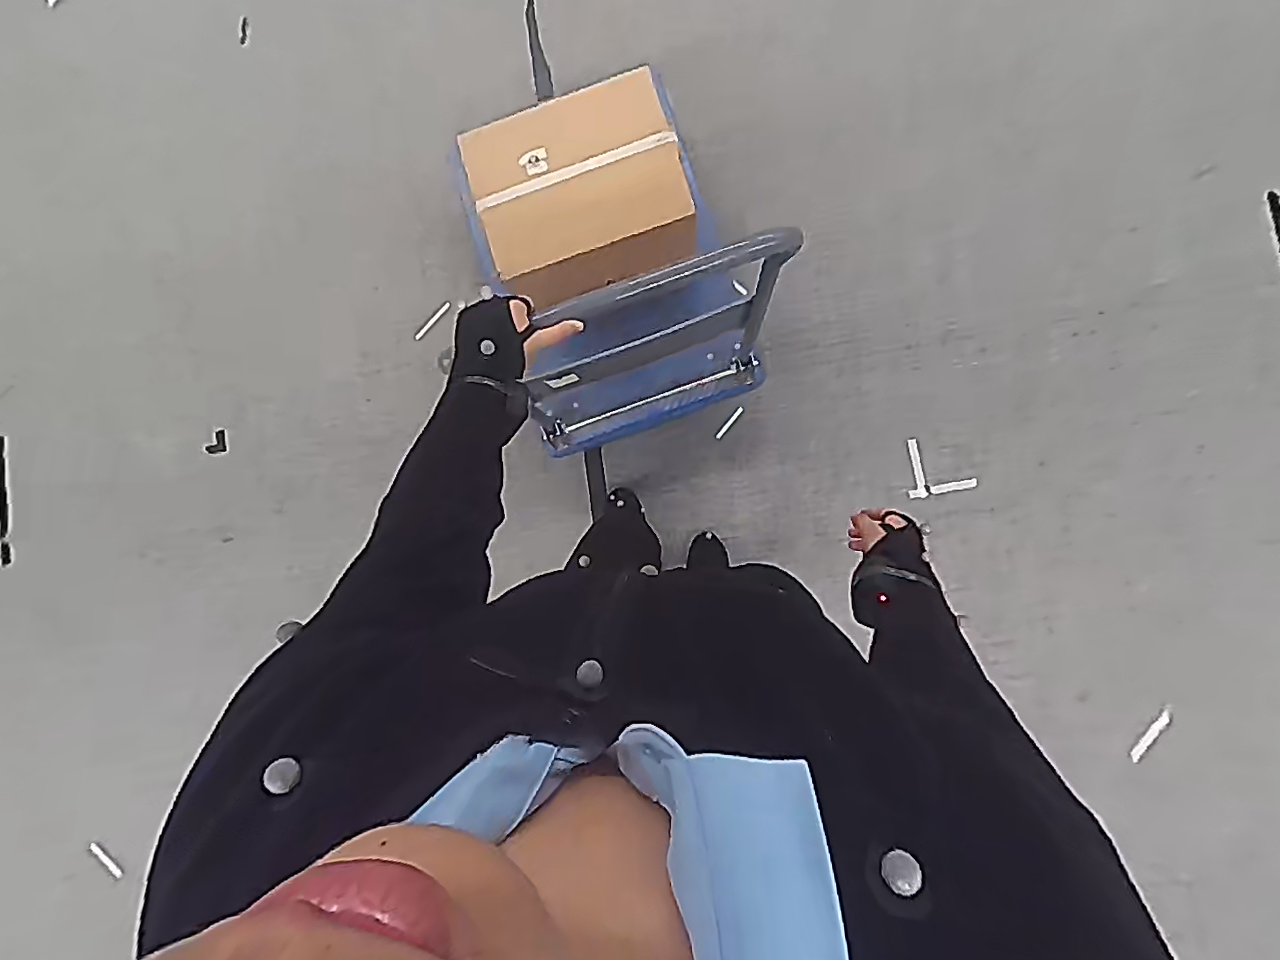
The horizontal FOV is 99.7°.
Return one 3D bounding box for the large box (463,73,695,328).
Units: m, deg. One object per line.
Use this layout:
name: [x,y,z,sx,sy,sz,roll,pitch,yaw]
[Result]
large box: [-0.112,-0.591,1.217,0.408,0.320,0.320,-18,86,5]
